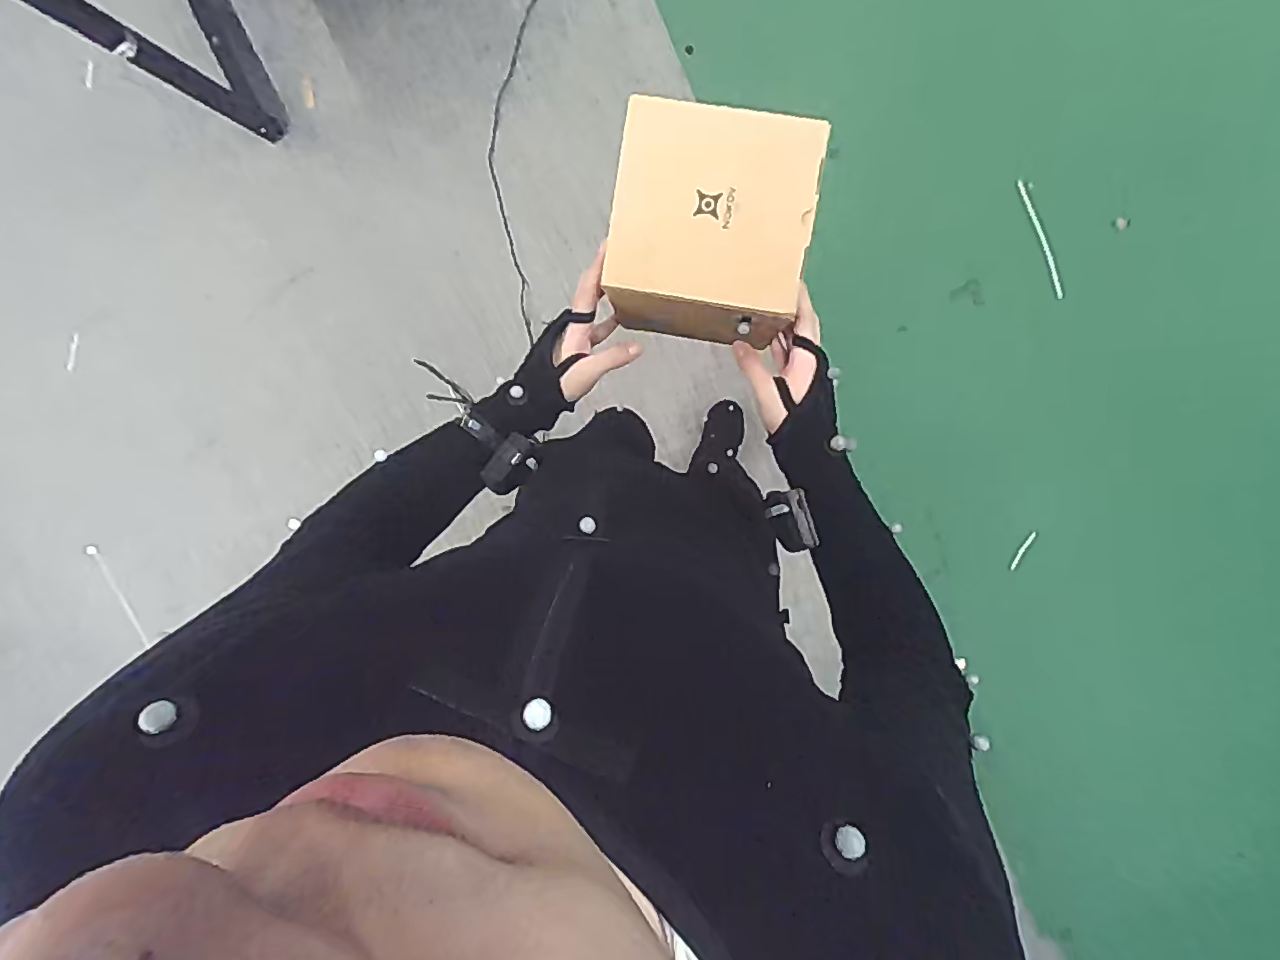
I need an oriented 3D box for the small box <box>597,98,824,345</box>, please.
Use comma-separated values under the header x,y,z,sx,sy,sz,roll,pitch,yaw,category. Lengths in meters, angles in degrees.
x,y,z,sx,sy,sz,roll,pitch,yaw,category
0.064,-0.241,0.547,0.179,0.176,0.168,9,94,2,small box
